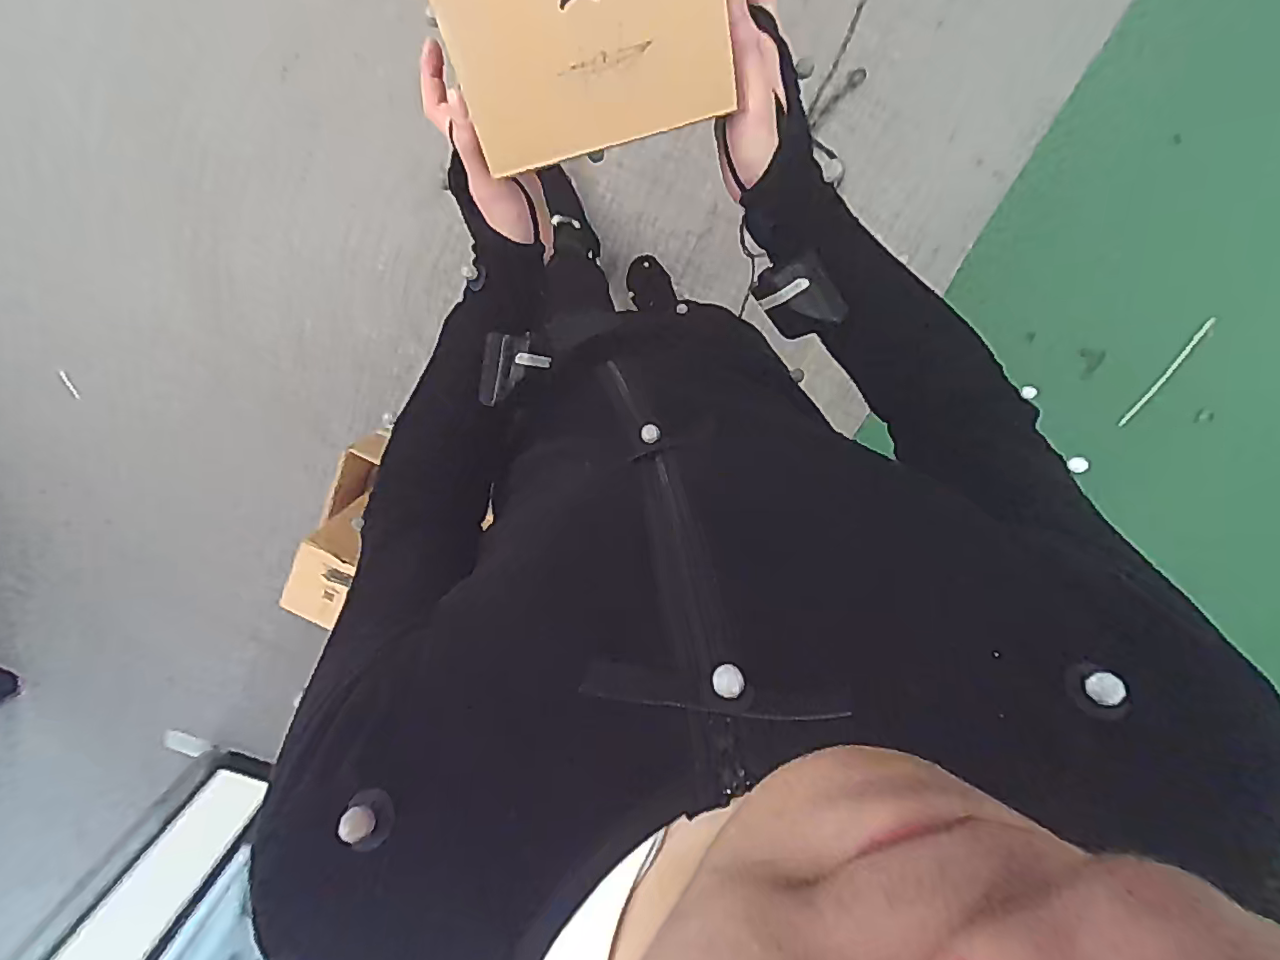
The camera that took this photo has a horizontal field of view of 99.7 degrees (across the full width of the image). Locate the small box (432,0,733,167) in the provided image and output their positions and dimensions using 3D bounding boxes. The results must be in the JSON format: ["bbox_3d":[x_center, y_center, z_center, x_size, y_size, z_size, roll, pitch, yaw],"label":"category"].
[{"bbox_3d":[-0.041,-0.334,0.360,0.168,0.176,0.179,-11,127,7],"label":"small box"}]

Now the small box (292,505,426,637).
[{"bbox_3d":[-0.572,0.181,1.121,0.168,0.176,0.179,29,113,-6],"label":"small box"}]
